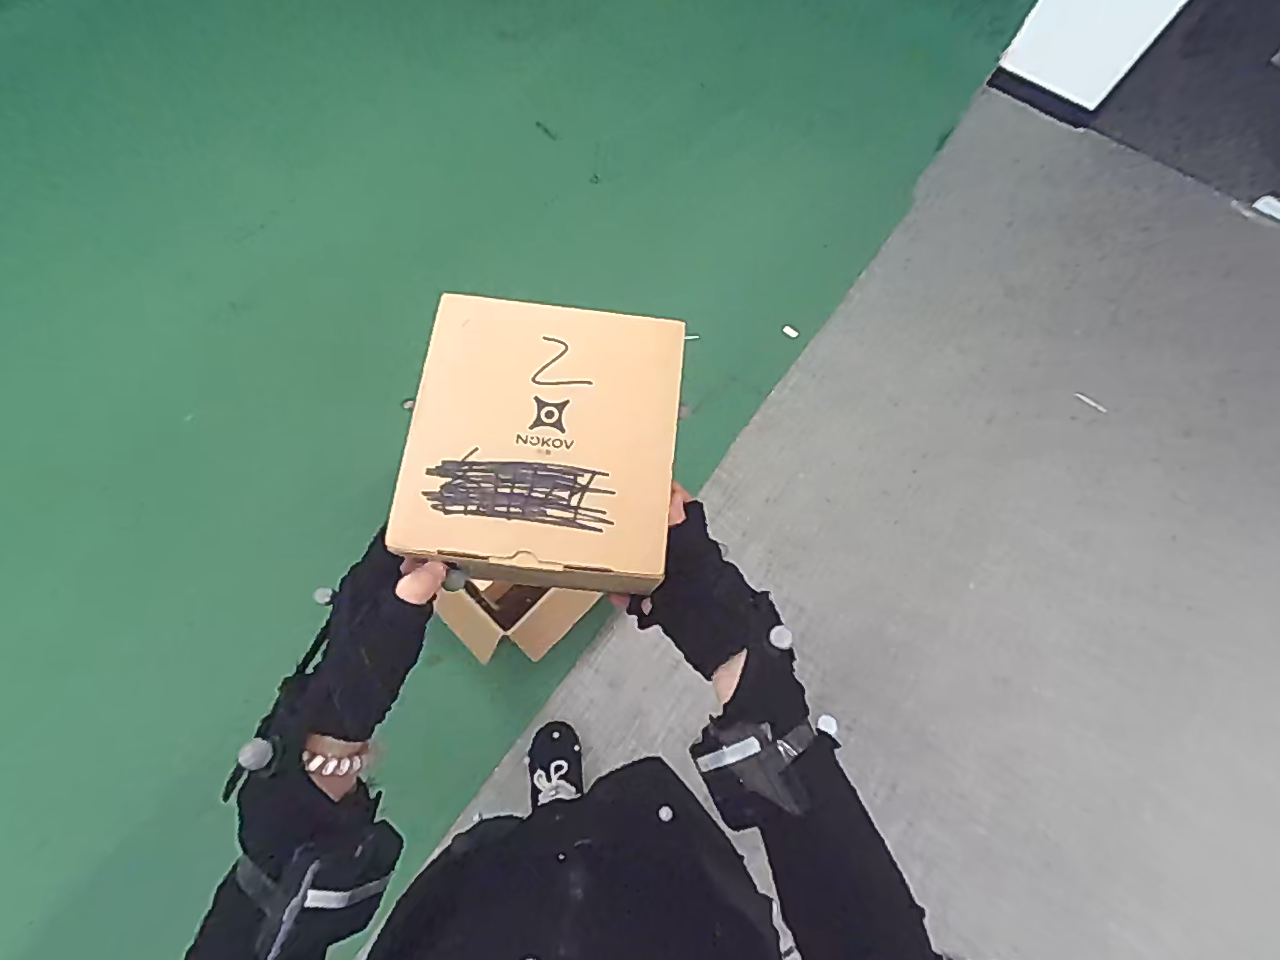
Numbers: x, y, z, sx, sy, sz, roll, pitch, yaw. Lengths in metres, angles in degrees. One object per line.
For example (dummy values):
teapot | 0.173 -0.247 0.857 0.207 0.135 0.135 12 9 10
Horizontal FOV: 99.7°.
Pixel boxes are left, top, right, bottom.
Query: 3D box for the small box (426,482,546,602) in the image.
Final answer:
small box | -0.321 0.140 1.162 0.168 0.176 0.179 -42 77 -18
